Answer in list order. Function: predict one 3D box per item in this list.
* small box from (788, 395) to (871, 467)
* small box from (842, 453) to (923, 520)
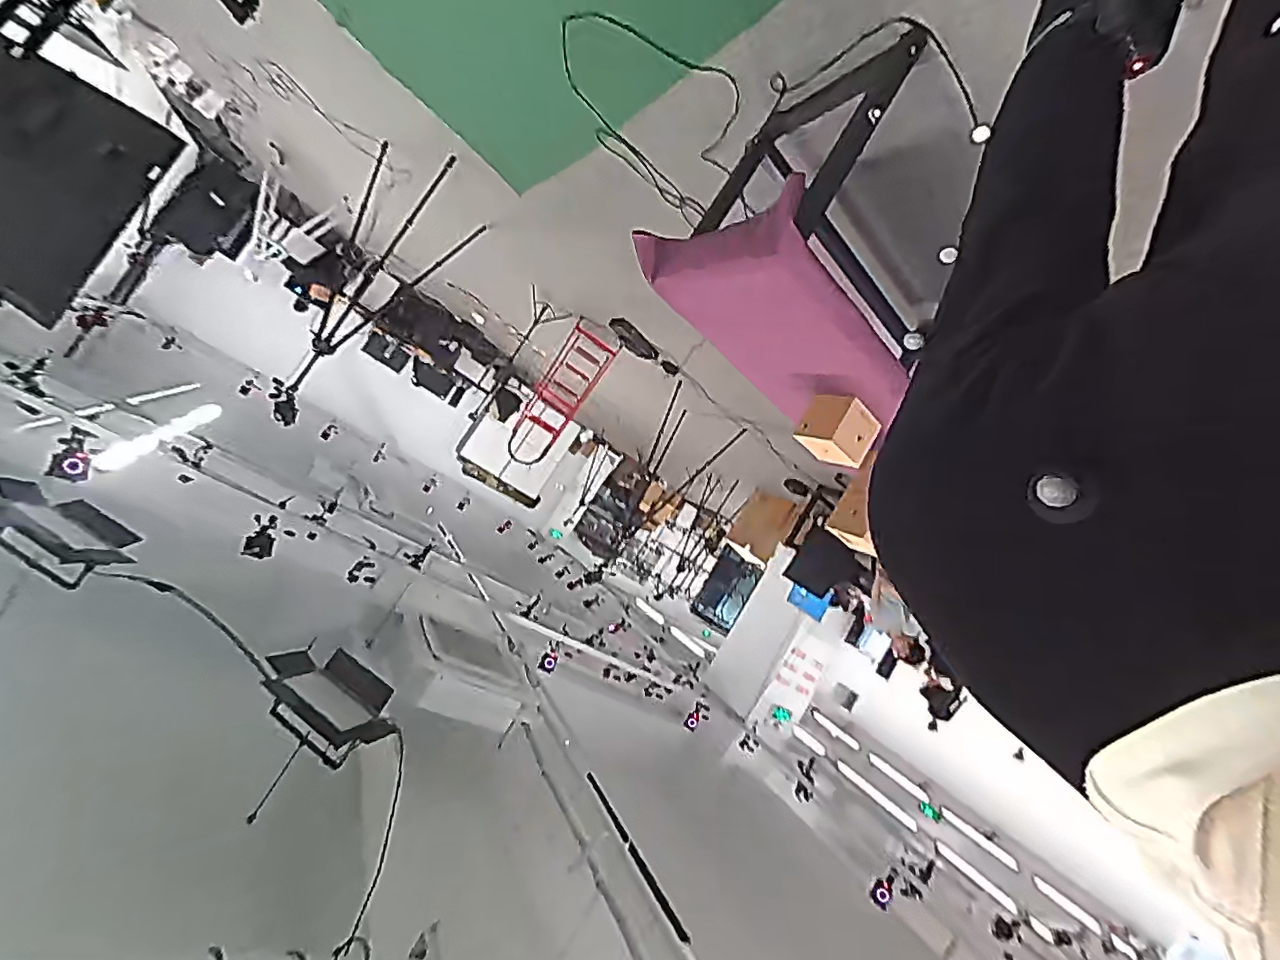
[{"bbox_3d":[0.626,-0.165,1.766,0.168,0.176,0.179,35,173,-30],"label":"small box"},{"bbox_3d":[0.877,0.017,1.950,0.168,0.176,0.179,35,172,-29],"label":"small box"}]
